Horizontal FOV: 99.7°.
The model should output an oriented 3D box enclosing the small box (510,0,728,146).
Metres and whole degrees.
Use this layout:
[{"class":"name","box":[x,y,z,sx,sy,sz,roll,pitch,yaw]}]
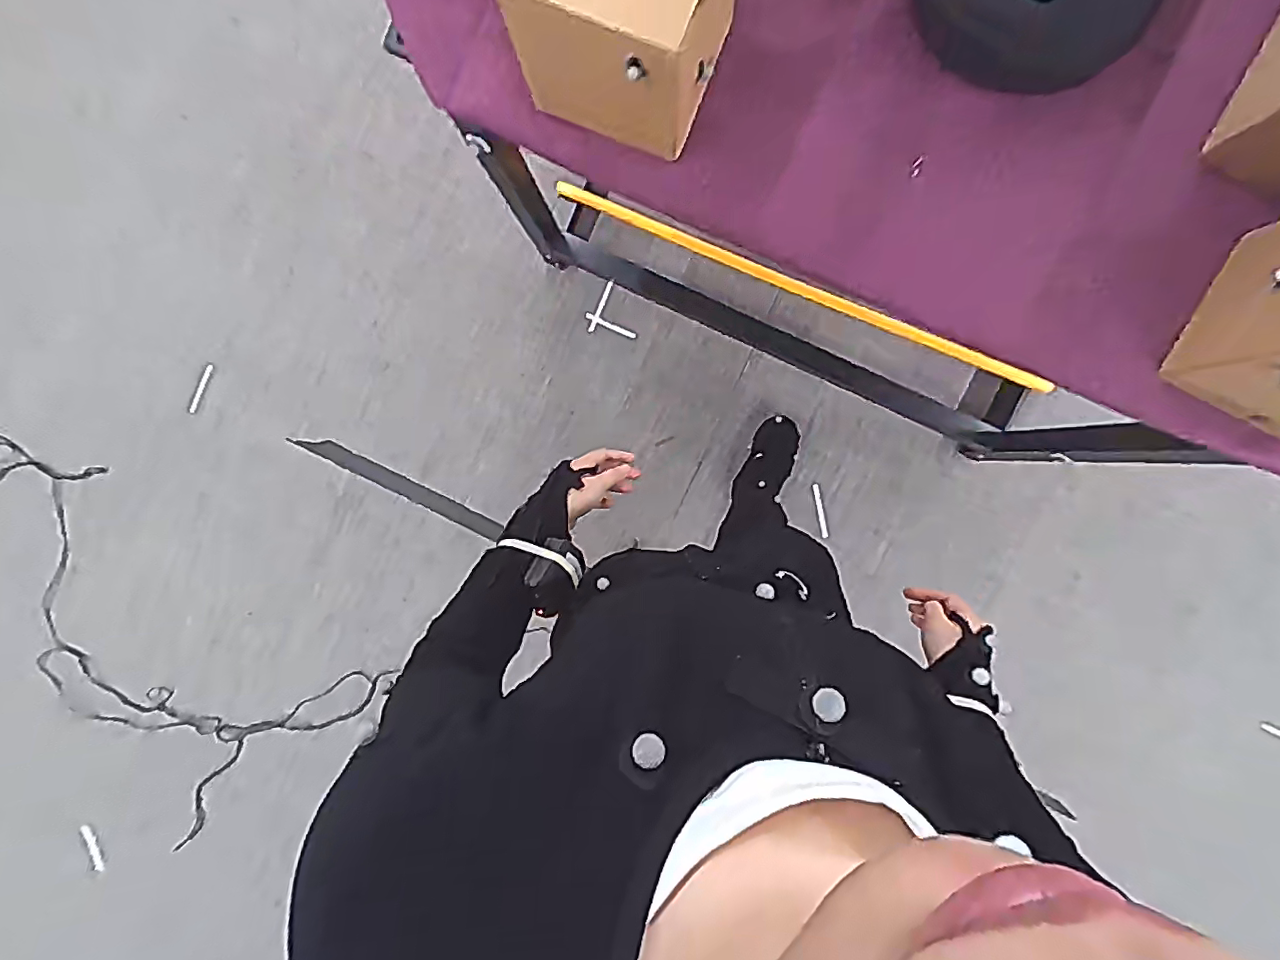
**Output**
[{"class":"small box","box":[-0.016,-0.473,0.532,0.179,0.176,0.168,21,93,1]}]
